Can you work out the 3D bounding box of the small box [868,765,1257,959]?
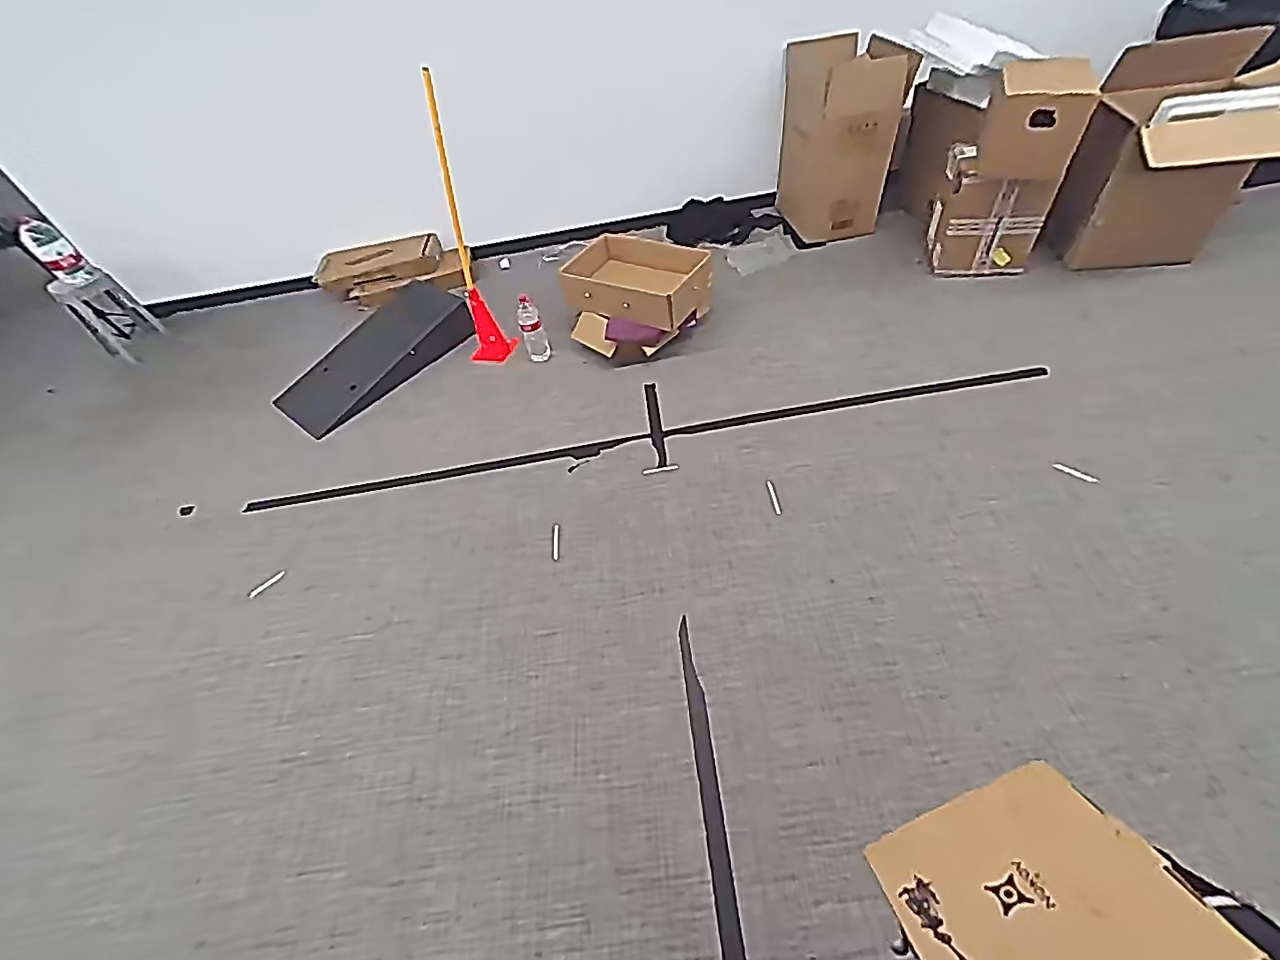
[{"bbox_3d":[0.315,0.370,0.409,0.179,0.176,0.168,-27,10,3],"label":"small box"}]
